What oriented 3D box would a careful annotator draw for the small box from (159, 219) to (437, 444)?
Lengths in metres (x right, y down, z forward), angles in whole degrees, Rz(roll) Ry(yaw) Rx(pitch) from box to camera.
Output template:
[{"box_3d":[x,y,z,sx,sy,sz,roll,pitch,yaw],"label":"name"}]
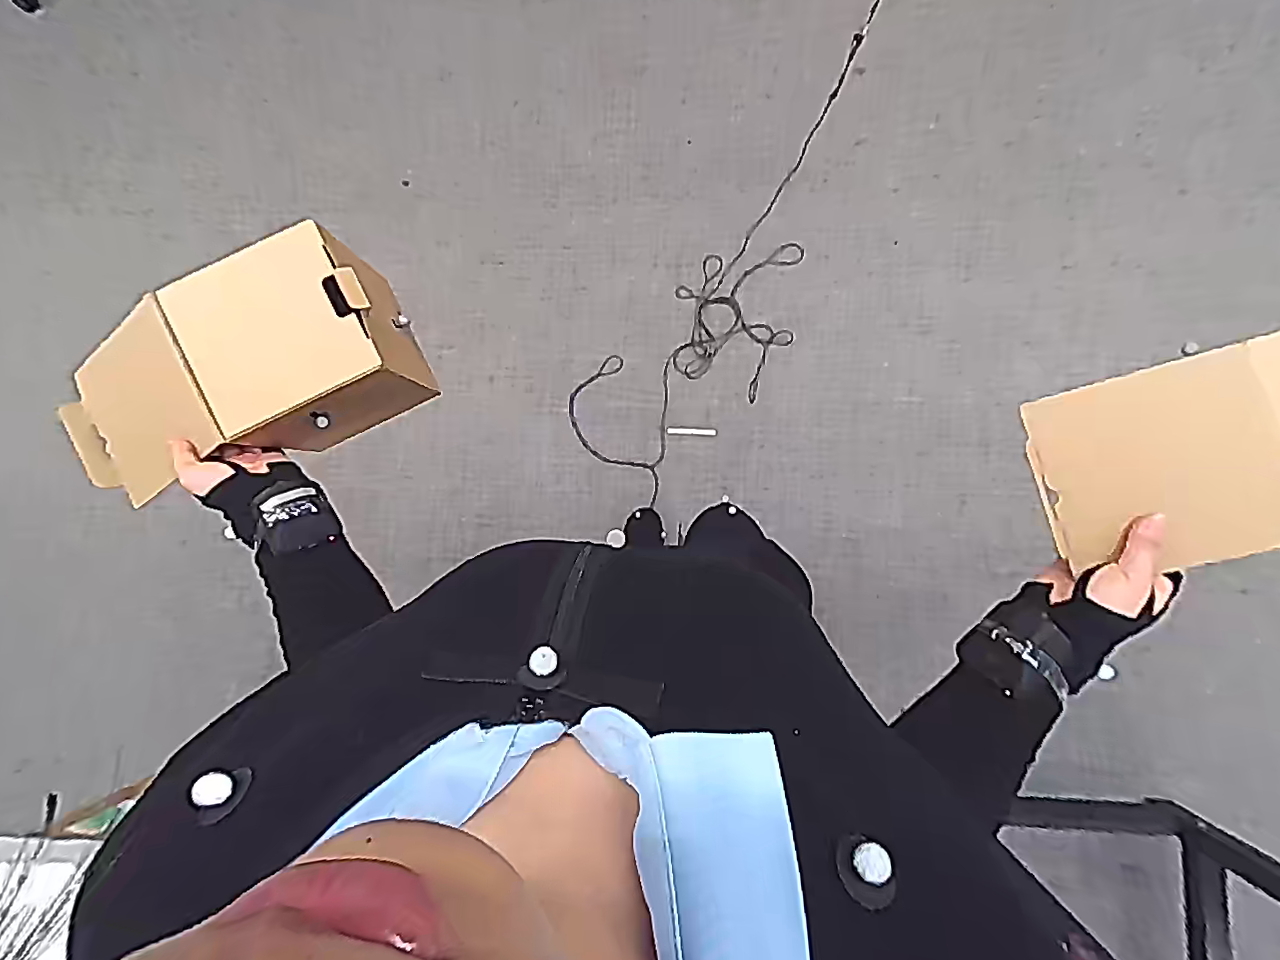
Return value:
[{"box_3d":[-0.366,-0.150,0.614,0.179,0.176,0.168,-26,90,-1],"label":"small box"}]
